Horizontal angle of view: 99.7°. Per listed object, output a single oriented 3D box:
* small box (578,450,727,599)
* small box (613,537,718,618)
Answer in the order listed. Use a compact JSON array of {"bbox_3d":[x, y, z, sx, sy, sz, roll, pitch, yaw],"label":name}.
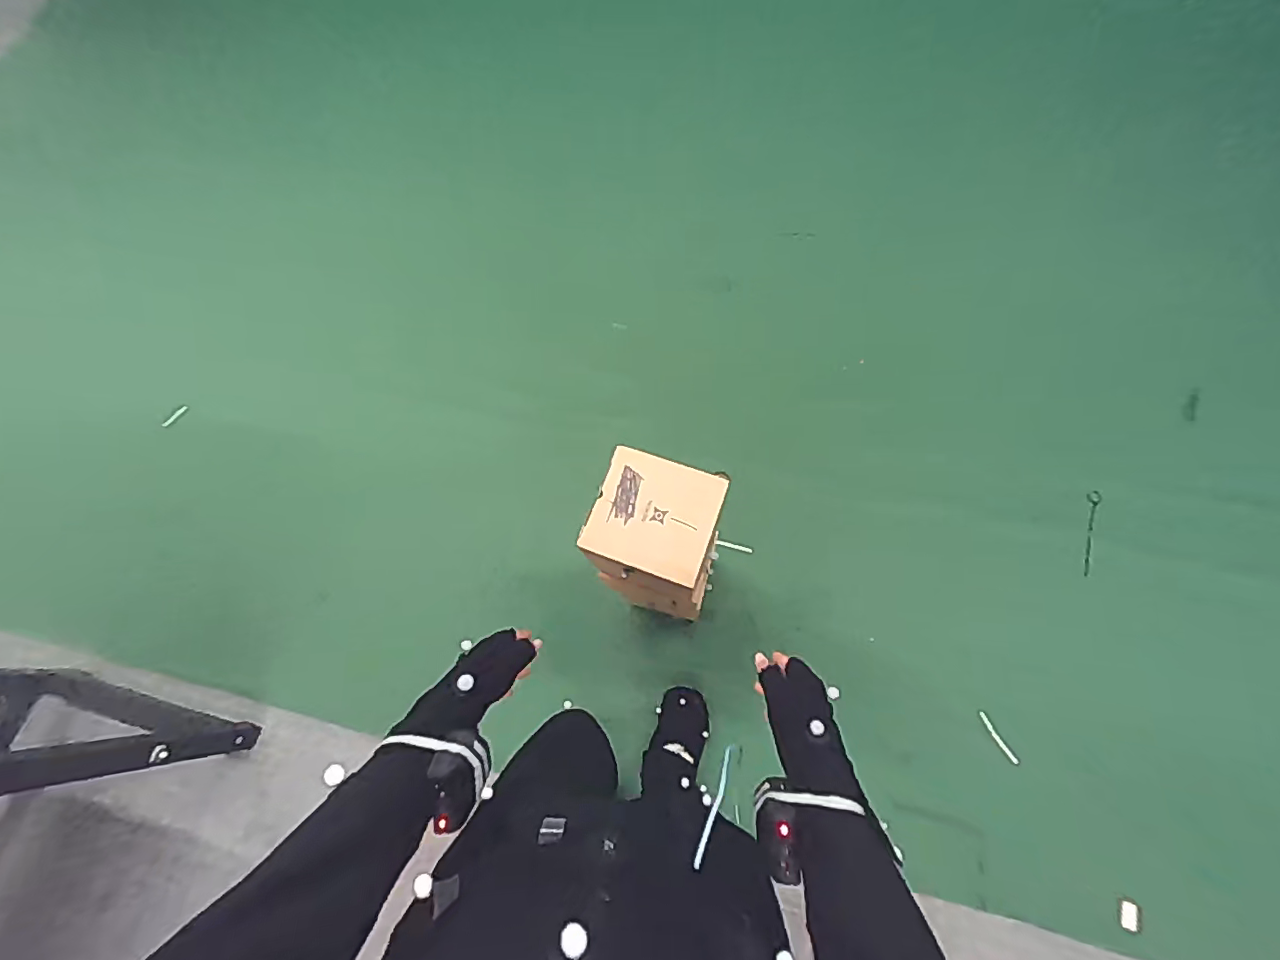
[{"bbox_3d":[0.026,0.076,0.839,0.179,0.176,0.168,15,72,10],"label":"small box"},{"bbox_3d":[0.058,0.190,1.146,0.179,0.176,0.168,14,72,9],"label":"small box"}]
